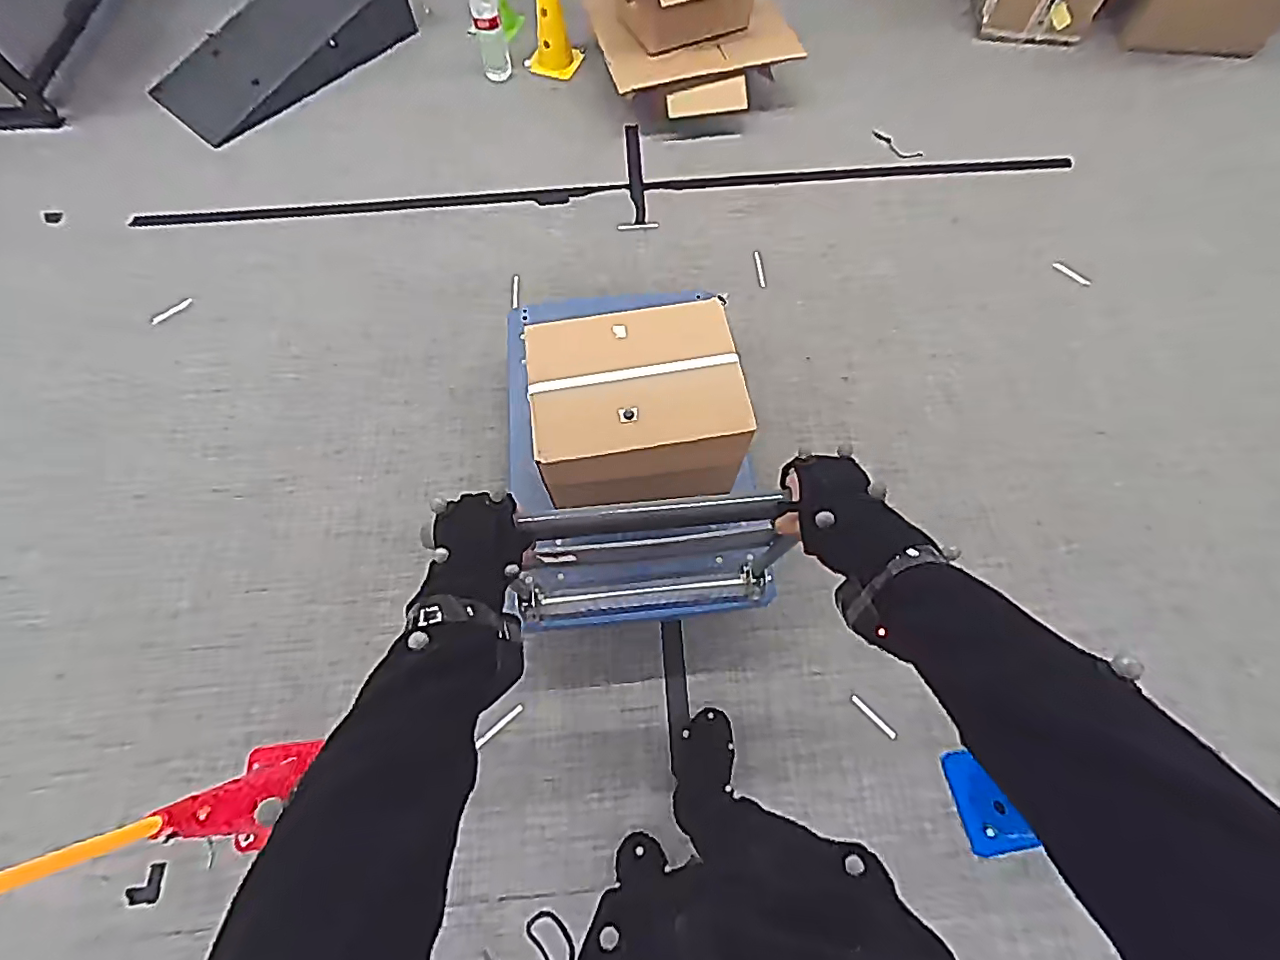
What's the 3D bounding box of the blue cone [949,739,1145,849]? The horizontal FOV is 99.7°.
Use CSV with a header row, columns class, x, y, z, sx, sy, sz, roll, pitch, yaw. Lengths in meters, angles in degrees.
class,x,y,z,sx,sy,sz,roll,pitch,yaw
blue cone,0.786,0.610,1.020,0.193,0.380,0.192,-7,66,-3
